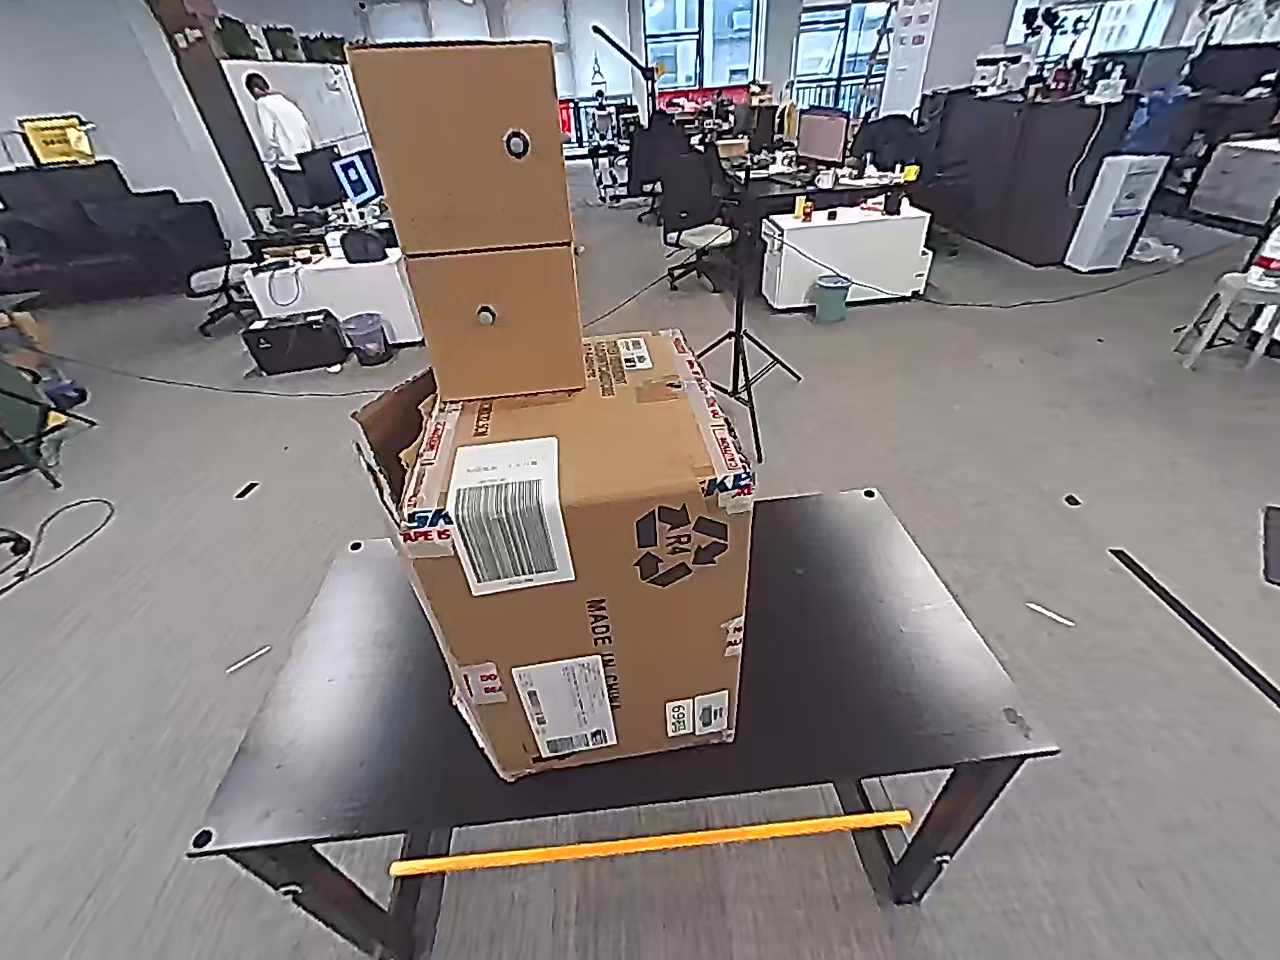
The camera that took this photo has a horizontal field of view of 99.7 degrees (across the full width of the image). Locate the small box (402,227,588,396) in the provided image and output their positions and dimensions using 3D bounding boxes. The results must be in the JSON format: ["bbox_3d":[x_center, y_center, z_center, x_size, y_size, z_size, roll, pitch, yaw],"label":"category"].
[{"bbox_3d":[-0.164,-0.214,0.667,0.179,0.176,0.168,-7,35,-5],"label":"small box"}]

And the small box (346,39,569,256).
[{"bbox_3d":[-0.171,-0.345,0.570,0.179,0.176,0.168,-9,34,-7],"label":"small box"}]
